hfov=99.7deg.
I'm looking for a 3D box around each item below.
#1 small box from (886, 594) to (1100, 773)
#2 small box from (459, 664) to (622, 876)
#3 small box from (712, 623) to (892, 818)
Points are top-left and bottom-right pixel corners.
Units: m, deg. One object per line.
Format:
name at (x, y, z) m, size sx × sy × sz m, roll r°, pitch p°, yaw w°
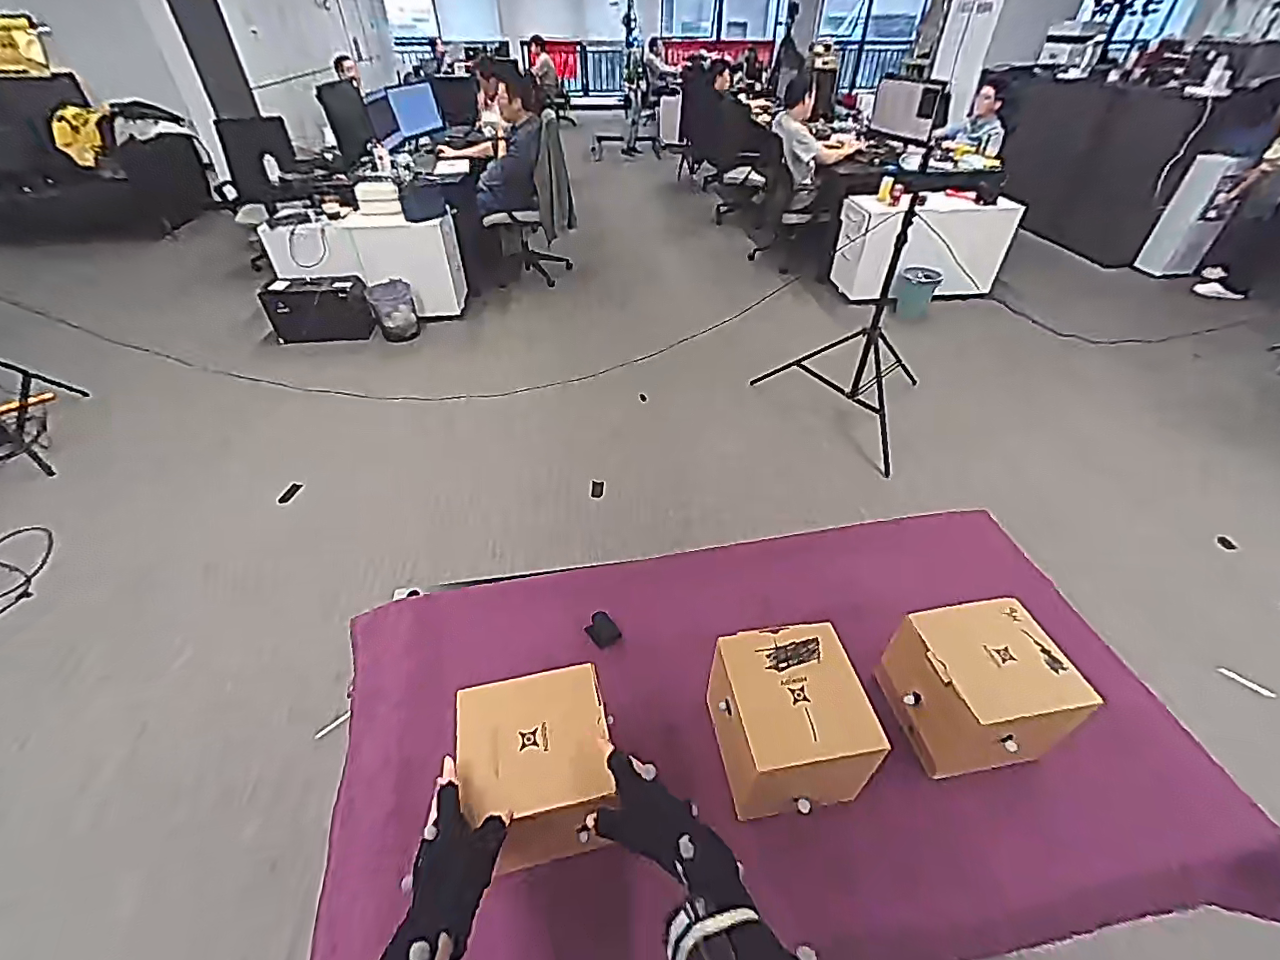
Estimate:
small box at (0.478, 0.291, 0.771) m, size 0.179 × 0.176 × 0.168 m, roll -8°, pitch 41°, yaw -7°
small box at (-0.122, 0.366, 0.687) m, size 0.179 × 0.176 × 0.168 m, roll -10°, pitch 40°, yaw -10°
small box at (0.201, 0.323, 0.735) m, size 0.168 × 0.176 × 0.179 m, roll -6°, pitch 41°, yaw -7°
